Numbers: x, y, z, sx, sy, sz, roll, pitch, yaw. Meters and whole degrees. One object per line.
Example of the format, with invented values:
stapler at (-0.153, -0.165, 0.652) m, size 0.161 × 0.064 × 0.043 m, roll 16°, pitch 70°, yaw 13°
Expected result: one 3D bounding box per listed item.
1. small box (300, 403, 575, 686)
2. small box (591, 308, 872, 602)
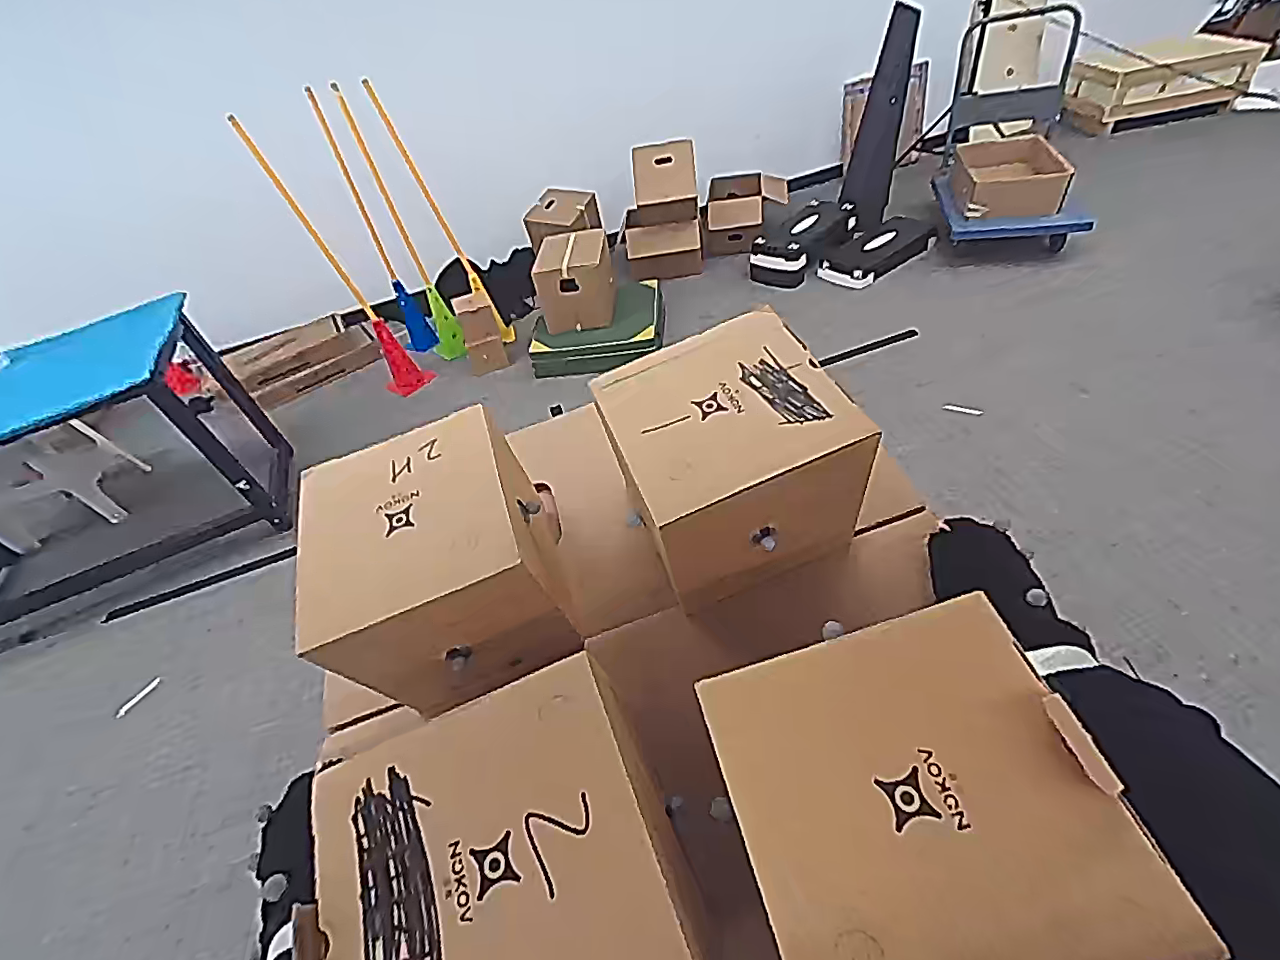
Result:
small box at (-0.171, 0.068, 0.491) m, size 0.168 × 0.176 × 0.179 m, roll -21°, pitch 53°, yaw -3°
small box at (0.076, -0.016, 0.493) m, size 0.179 × 0.176 × 0.168 m, roll -23°, pitch 54°, yaw -2°
